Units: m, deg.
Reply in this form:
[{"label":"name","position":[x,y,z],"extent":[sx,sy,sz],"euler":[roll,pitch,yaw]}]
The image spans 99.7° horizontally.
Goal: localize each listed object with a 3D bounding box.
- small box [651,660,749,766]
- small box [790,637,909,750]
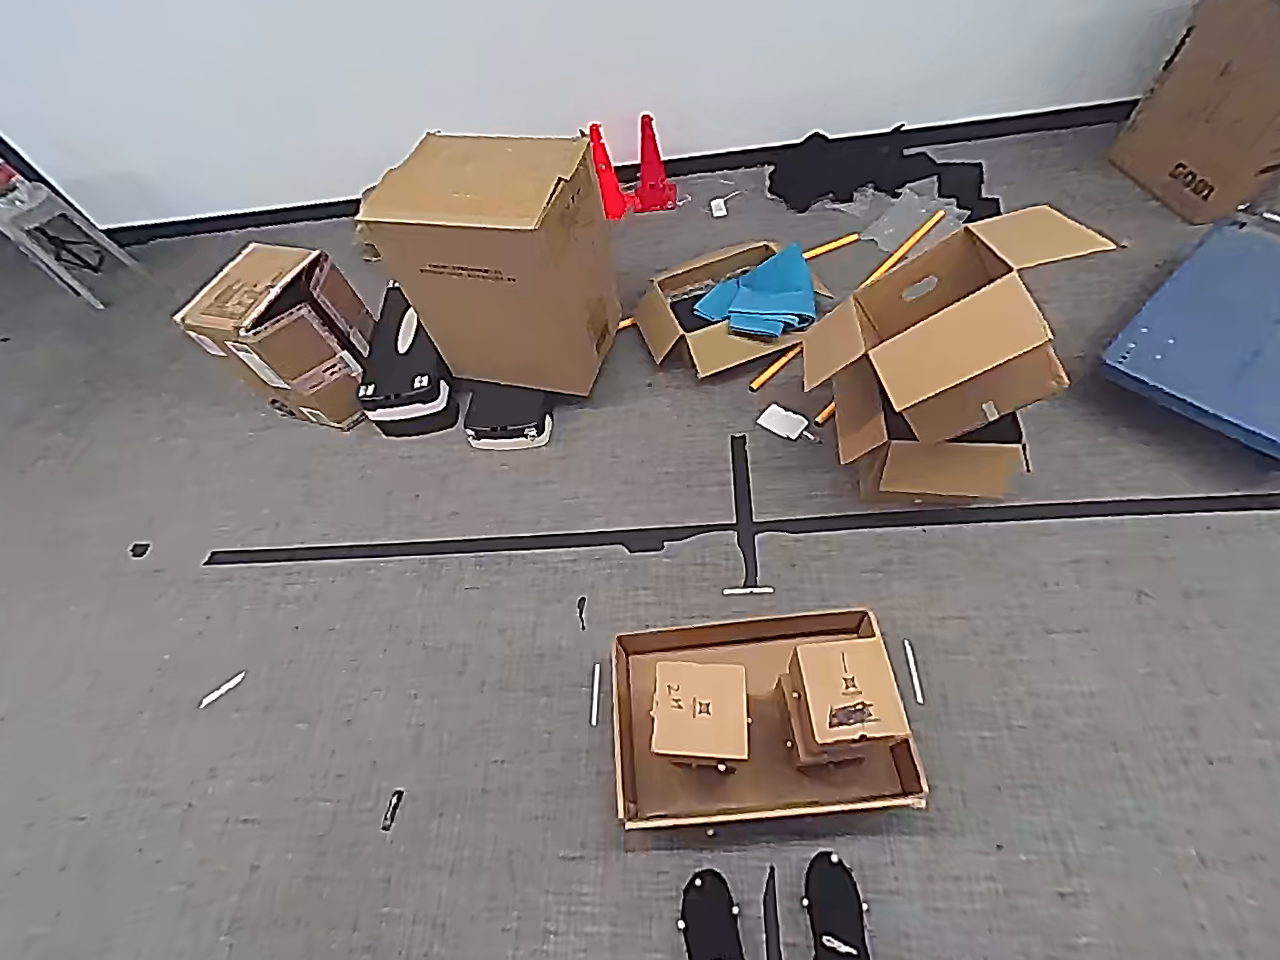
[{"label":"small box","position":[0.121,0.466,1.076],"extent":[0.179,0.176,0.168],"euler":[1,58,8]},{"label":"small box","position":[0.397,0.424,1.058],"extent":[0.168,0.176,0.179],"euler":[-7,56,5]}]
